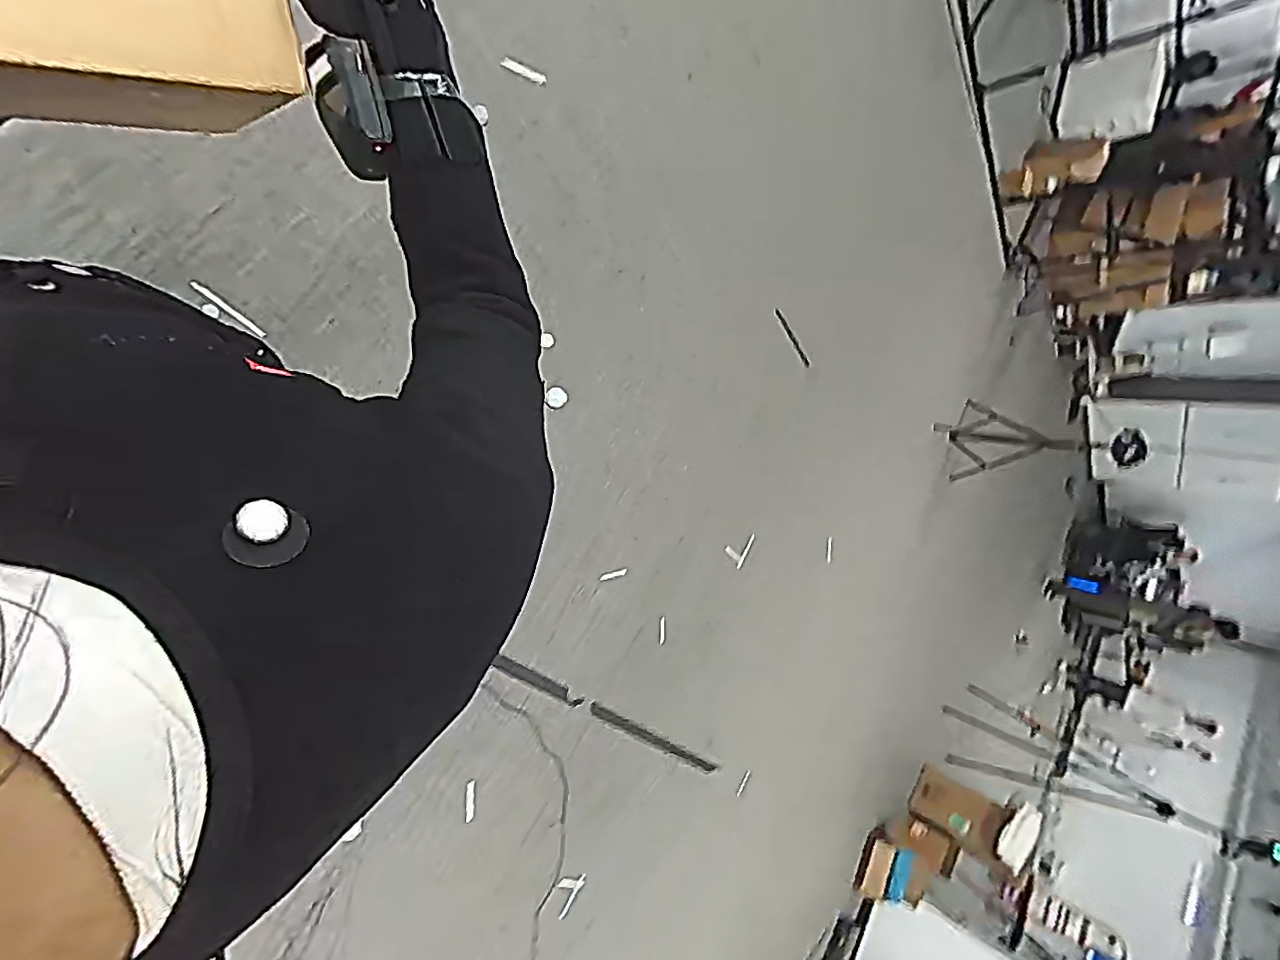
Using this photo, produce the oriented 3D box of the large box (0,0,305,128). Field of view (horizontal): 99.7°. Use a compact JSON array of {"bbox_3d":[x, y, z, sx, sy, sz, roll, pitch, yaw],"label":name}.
[{"bbox_3d":[-0.466,-0.381,0.267,0.408,0.320,0.320,-22,126,-37],"label":"large box"}]
